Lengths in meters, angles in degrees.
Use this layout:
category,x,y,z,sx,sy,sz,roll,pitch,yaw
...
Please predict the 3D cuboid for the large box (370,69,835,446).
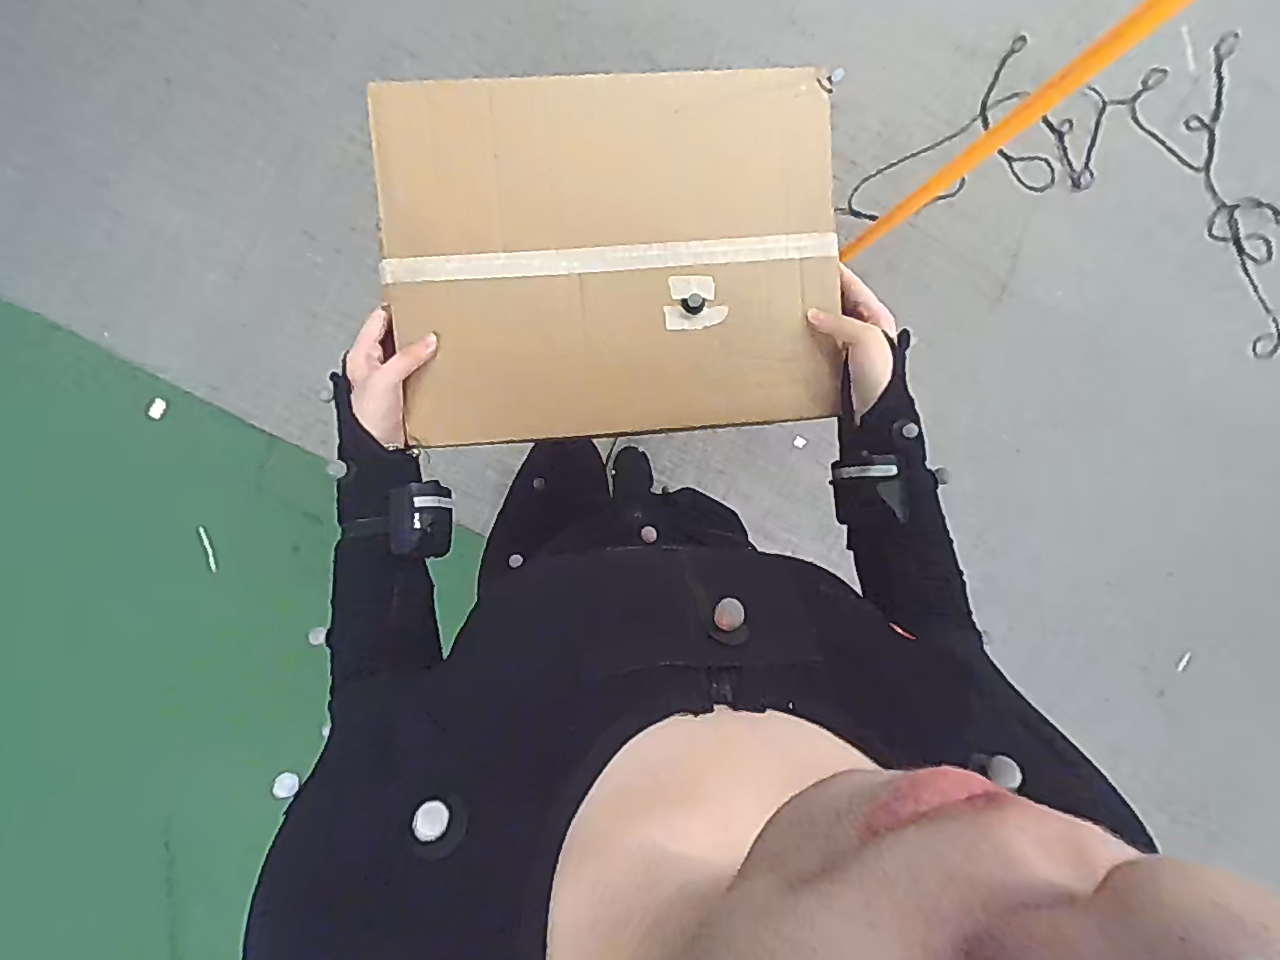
category,x,y,z,sx,sy,sz,roll,pitch,yaw
large box,-0.038,-0.214,0.640,0.408,0.320,0.320,-6,95,-5
